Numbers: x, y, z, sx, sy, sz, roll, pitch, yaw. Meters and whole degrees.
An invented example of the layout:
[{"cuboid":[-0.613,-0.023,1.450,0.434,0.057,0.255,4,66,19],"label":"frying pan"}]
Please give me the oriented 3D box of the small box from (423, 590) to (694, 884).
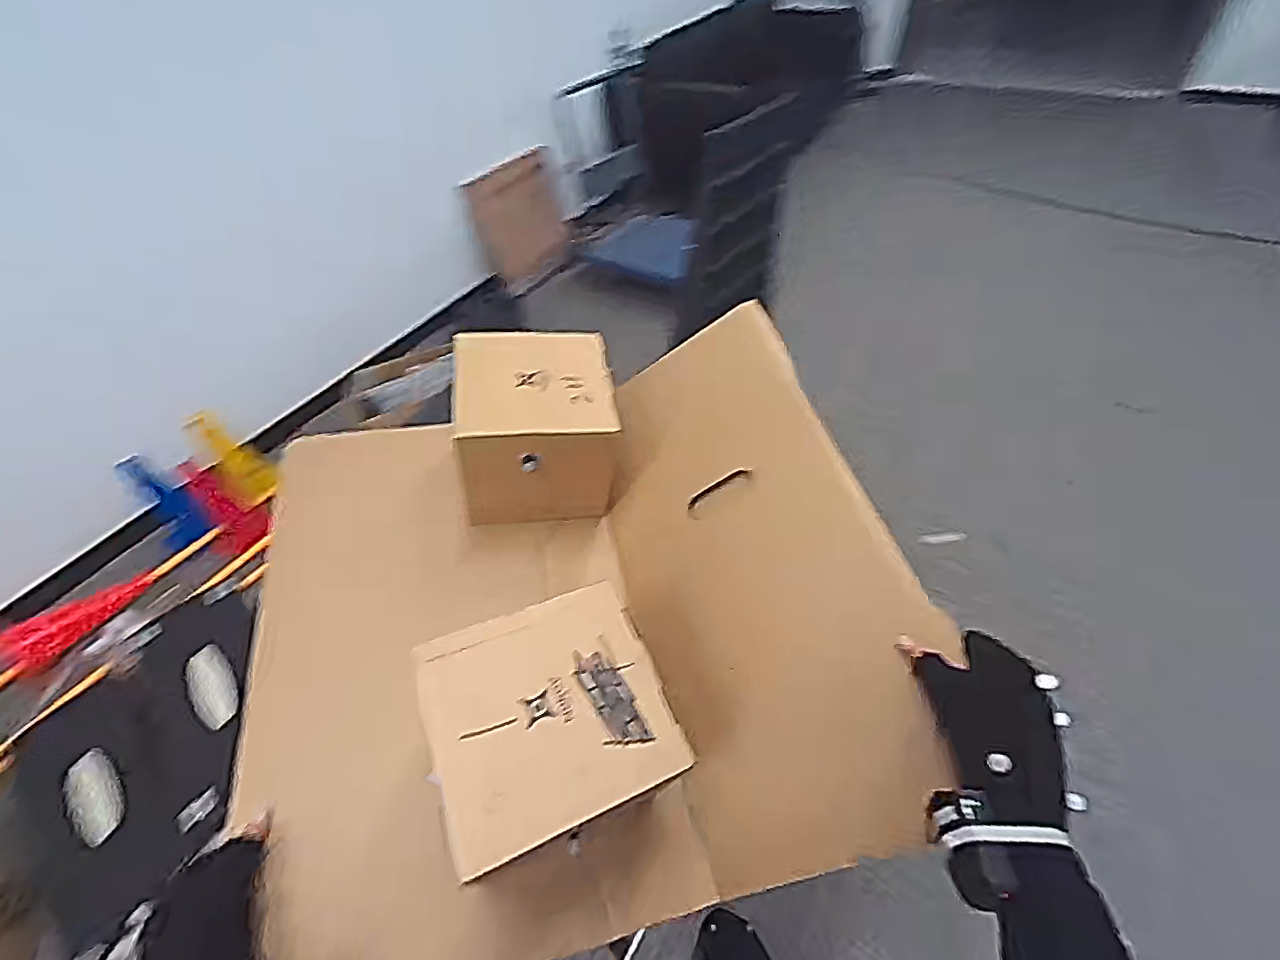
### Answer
[{"cuboid":[-0.079,0.227,0.485,0.179,0.176,0.168,-15,58,-20],"label":"small box"}]
